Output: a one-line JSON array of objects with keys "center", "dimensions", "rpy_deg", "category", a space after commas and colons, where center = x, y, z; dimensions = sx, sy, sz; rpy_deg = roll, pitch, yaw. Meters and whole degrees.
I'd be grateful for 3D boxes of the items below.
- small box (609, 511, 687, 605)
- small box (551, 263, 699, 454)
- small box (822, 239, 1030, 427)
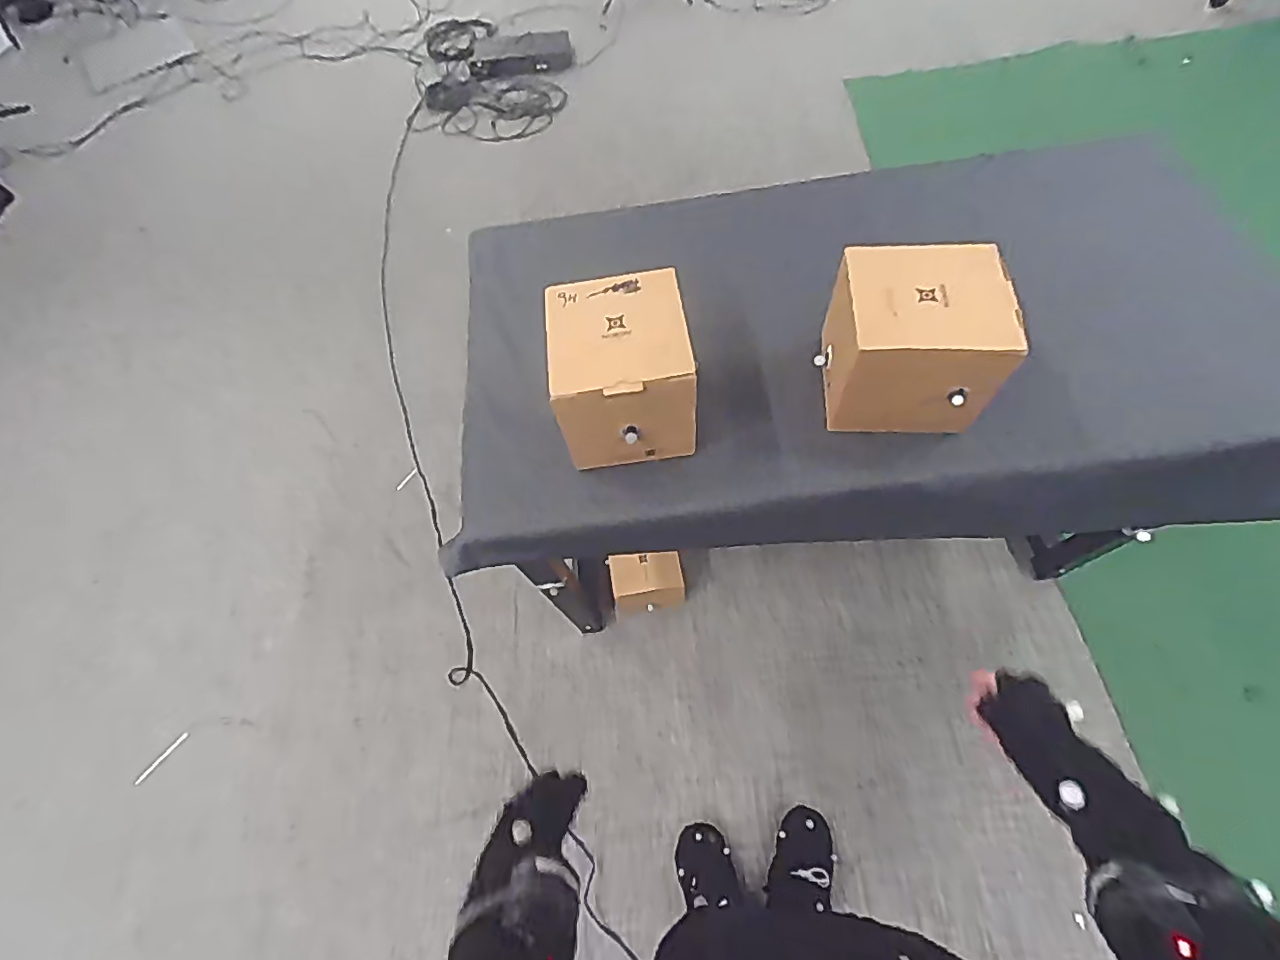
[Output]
[{"center": [0.022, 0.198, 1.350], "dimensions": [0.168, 0.176, 0.179], "rpy_deg": [-10, 64, 1], "category": "small box"}, {"center": [-0.015, -0.146, 0.706], "dimensions": [0.168, 0.176, 0.179], "rpy_deg": [-8, 62, 1], "category": "small box"}, {"center": [0.343, -0.179, 0.689], "dimensions": [0.179, 0.176, 0.168], "rpy_deg": [1, 62, 8], "category": "small box"}]
